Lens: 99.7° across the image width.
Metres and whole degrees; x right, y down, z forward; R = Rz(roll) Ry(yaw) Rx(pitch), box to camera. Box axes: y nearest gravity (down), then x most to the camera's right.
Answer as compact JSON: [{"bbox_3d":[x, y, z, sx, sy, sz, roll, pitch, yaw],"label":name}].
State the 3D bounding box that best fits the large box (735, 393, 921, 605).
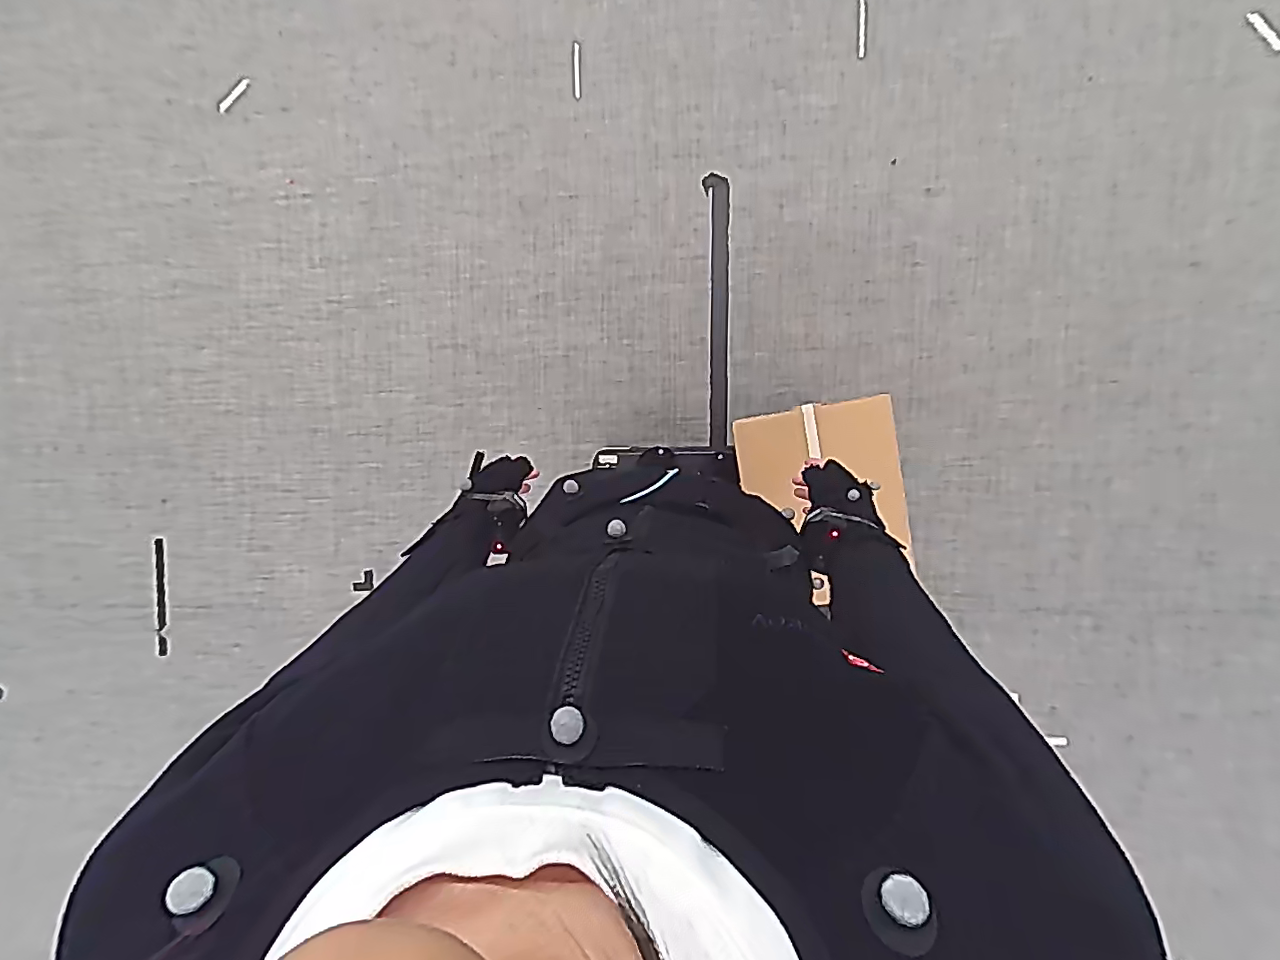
[{"bbox_3d":[0.410,0.034,1.248,0.320,0.320,0.408,-9,93,13],"label":"large box"}]
